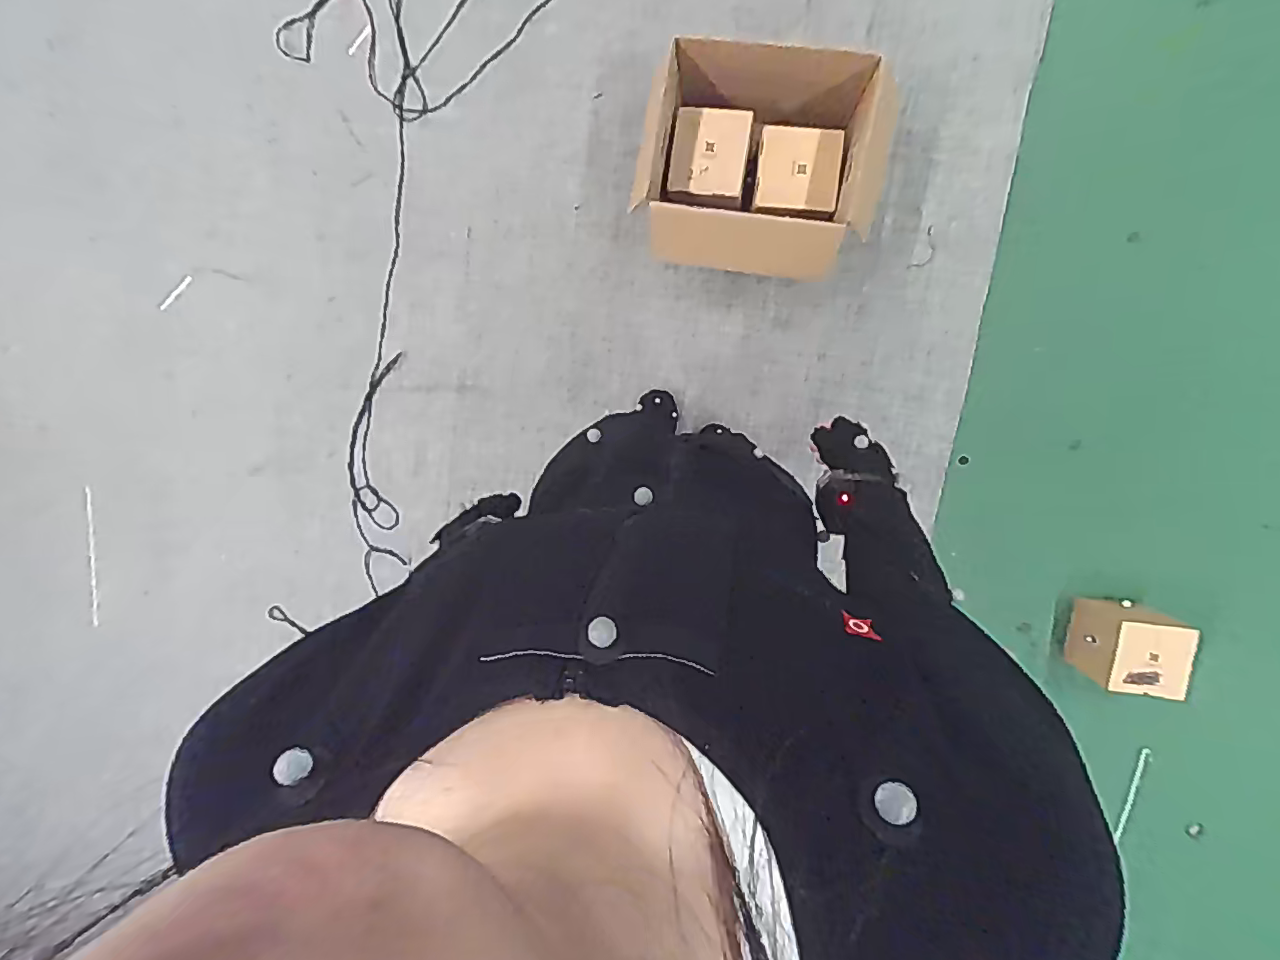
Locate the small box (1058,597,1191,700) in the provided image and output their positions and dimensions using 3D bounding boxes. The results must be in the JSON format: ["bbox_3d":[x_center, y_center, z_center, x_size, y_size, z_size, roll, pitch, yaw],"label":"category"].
[{"bbox_3d":[1.180,0.409,1.333,0.168,0.176,0.179,6,98,5],"label":"small box"}]
